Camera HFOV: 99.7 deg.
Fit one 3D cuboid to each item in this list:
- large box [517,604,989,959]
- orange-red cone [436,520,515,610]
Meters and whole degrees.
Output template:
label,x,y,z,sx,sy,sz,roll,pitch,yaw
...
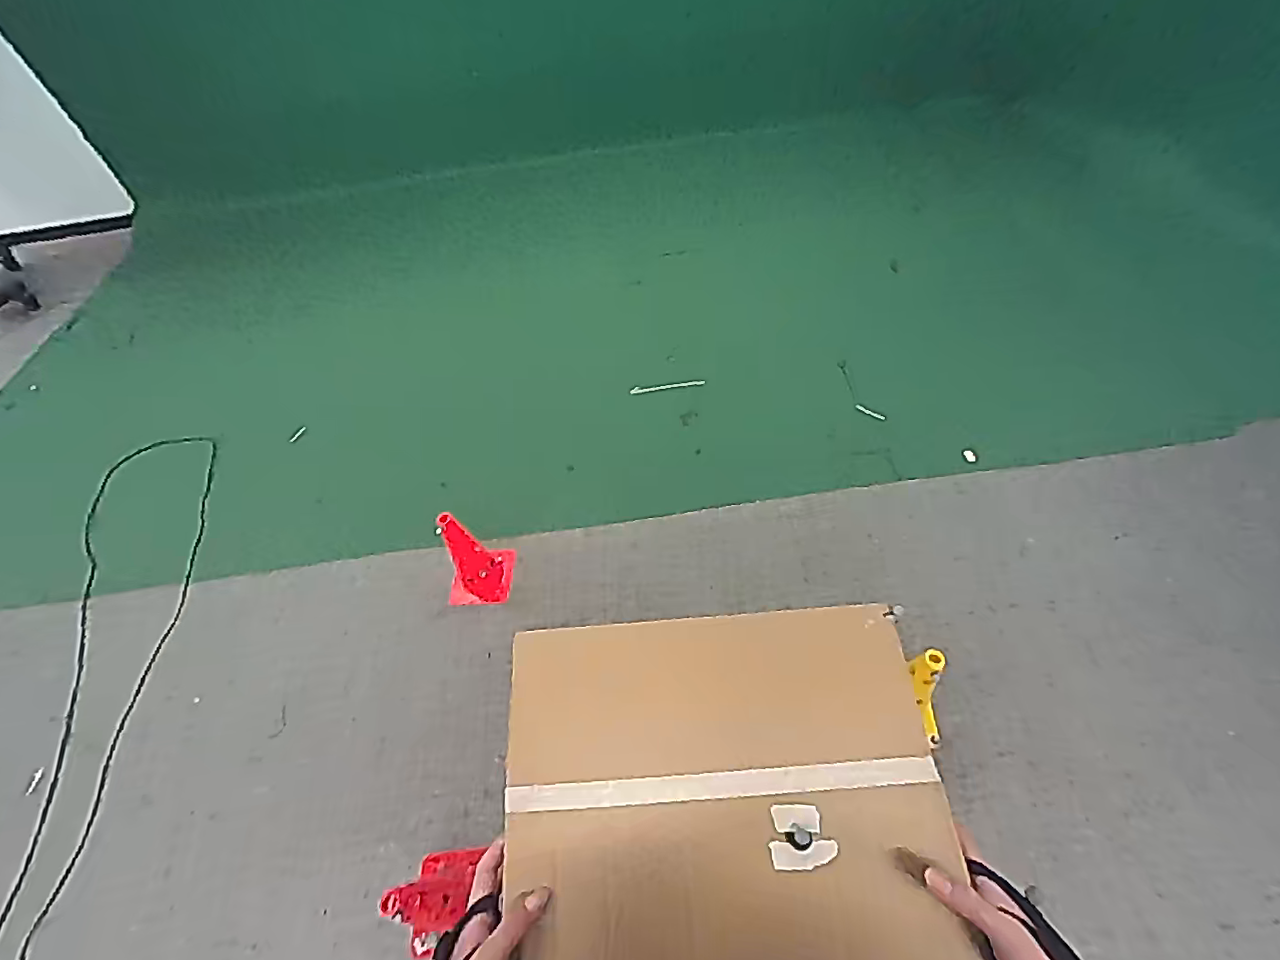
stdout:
label,x,y,z,sx,sy,sz,roll,pitch,yaw
large box,0.088,0.360,0.647,0.408,0.320,0.320,-5,62,1
orange-red cone,-0.551,0.239,1.686,0.199,0.360,0.198,-3,51,6
